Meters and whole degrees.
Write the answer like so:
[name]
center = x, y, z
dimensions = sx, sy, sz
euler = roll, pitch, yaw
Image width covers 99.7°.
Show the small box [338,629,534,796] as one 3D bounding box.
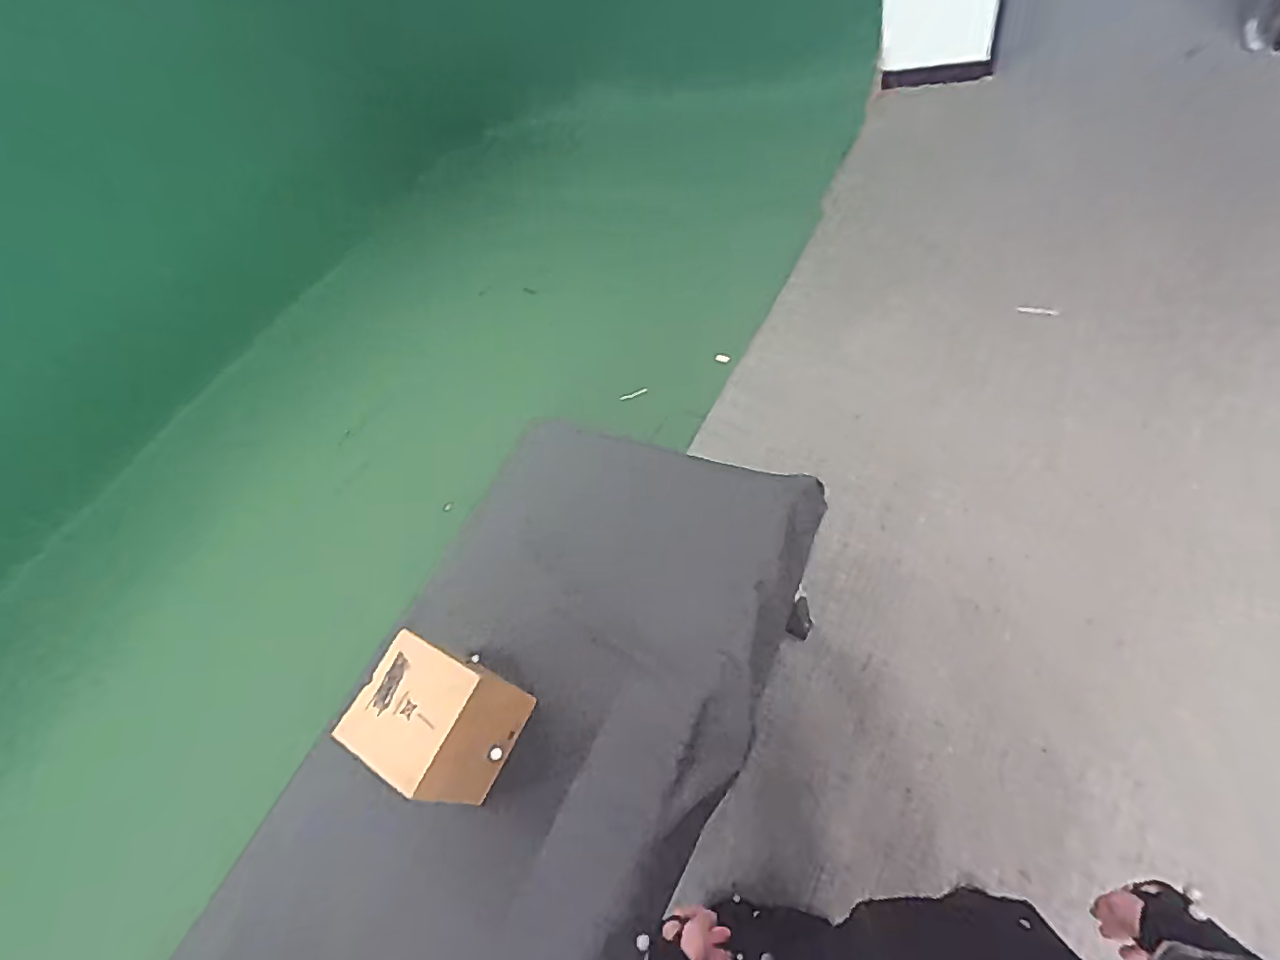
[small box]
center = -0.296, 0.354, 0.815
dimensions = 0.179, 0.176, 0.168
euler = 18, 67, 28
